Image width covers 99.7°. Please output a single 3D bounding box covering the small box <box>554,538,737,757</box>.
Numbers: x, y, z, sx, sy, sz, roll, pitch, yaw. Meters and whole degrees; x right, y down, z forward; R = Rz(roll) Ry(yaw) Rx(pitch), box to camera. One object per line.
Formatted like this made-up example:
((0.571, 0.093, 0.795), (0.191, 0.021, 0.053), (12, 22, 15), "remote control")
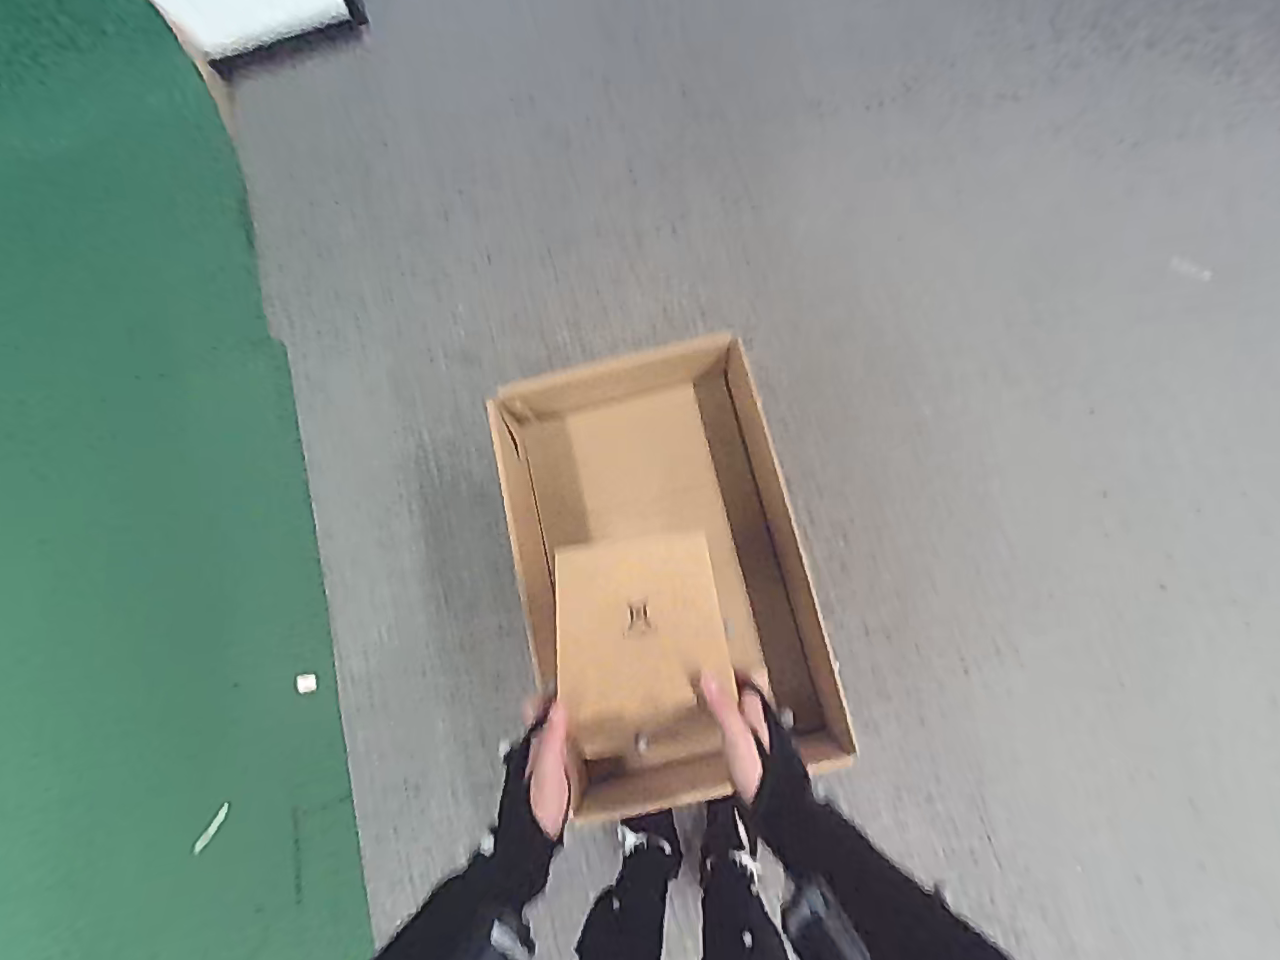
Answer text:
((-0.001, 0.186, 0.591), (0.168, 0.176, 0.179), (-7, 55, -2), "small box")
